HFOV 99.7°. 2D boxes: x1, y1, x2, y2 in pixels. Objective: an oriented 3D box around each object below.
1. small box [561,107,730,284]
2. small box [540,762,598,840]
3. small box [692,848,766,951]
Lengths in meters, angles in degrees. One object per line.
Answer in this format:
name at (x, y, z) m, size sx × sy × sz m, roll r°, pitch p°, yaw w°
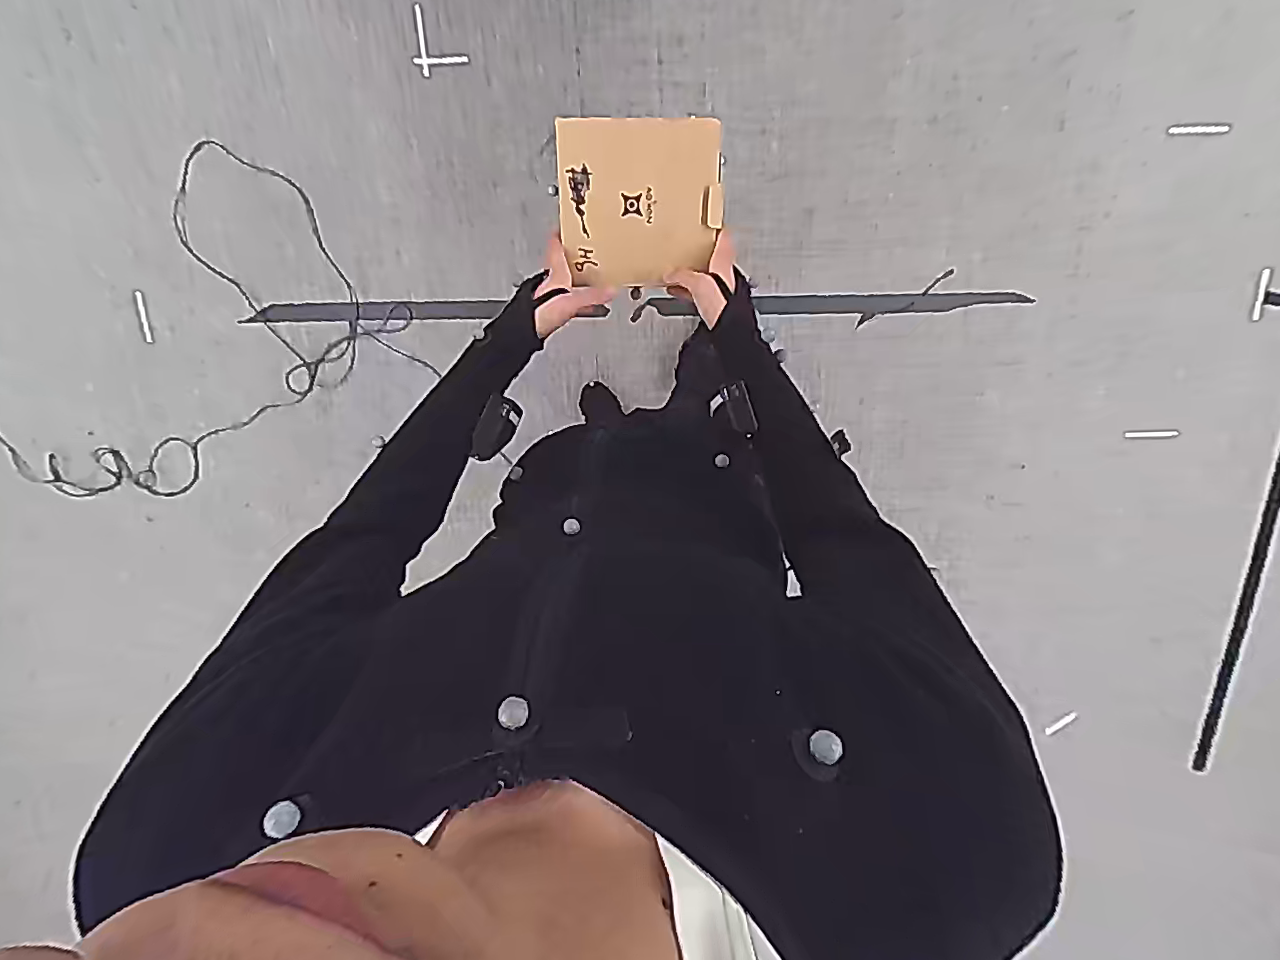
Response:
small box at (0.000, -0.325, 0.648) m, size 0.179 × 0.176 × 0.168 m, roll -1°, pitch 109°, yaw -3°
small box at (-0.236, 1.090, 1.844) m, size 0.179 × 0.176 × 0.168 m, roll -1°, pitch 105°, yaw 1°
small box at (0.248, 1.177, 1.528) m, size 0.179 × 0.176 × 0.168 m, roll -5°, pitch 106°, yaw 1°
